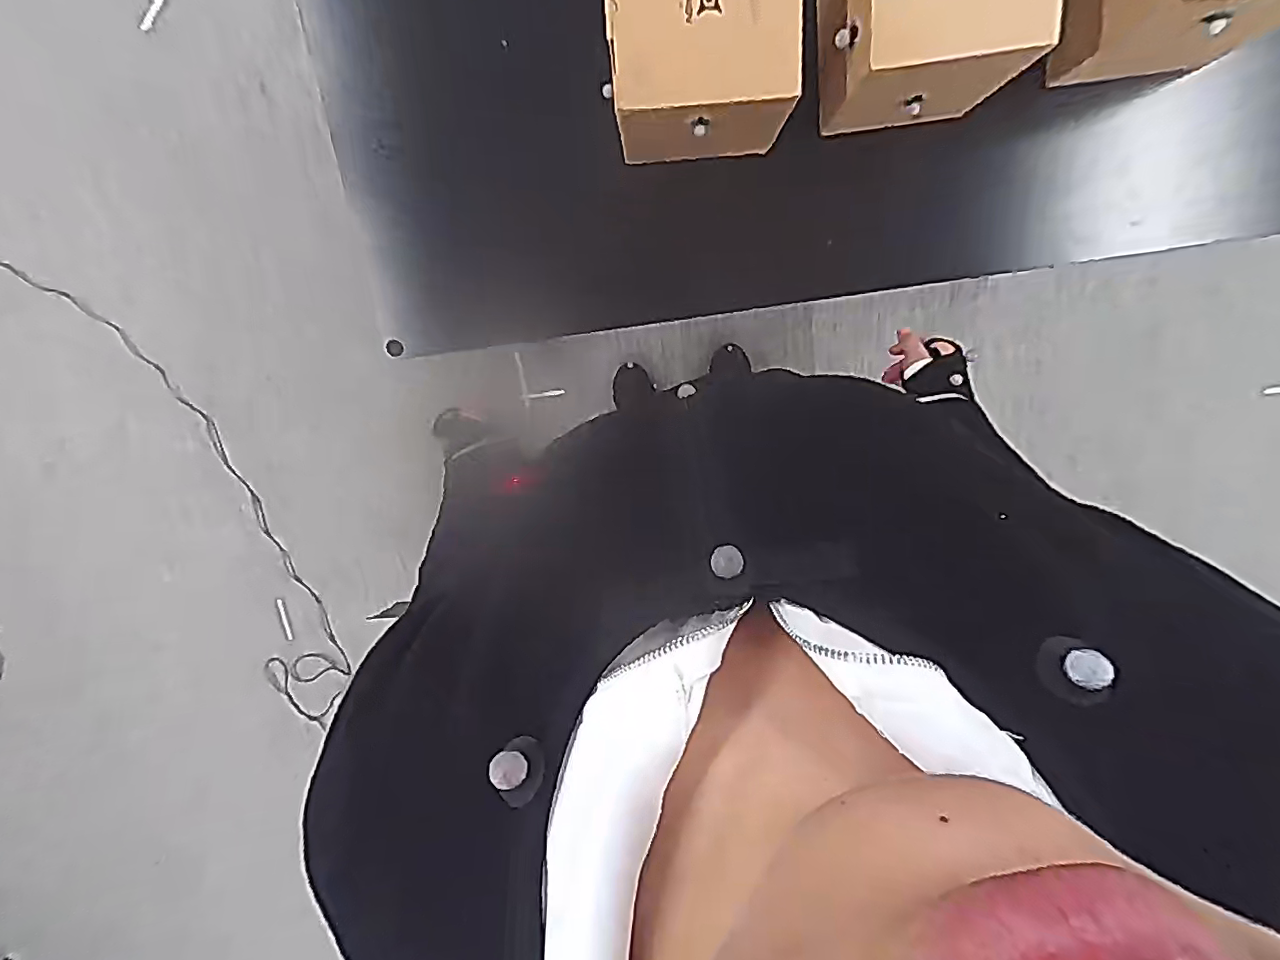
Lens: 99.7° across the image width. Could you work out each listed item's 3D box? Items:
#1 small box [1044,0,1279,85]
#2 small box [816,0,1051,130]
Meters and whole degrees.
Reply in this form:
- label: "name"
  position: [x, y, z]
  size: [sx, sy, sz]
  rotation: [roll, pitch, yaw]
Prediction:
- label: "small box"
  position: [0.543, -0.523, 0.532]
  size: [0.179, 0.176, 0.168]
  rotation: [-5, 104, 3]
- label: "small box"
  position: [0.285, -0.485, 0.554]
  size: [0.168, 0.176, 0.179]
  rotation: [-5, 104, 4]
